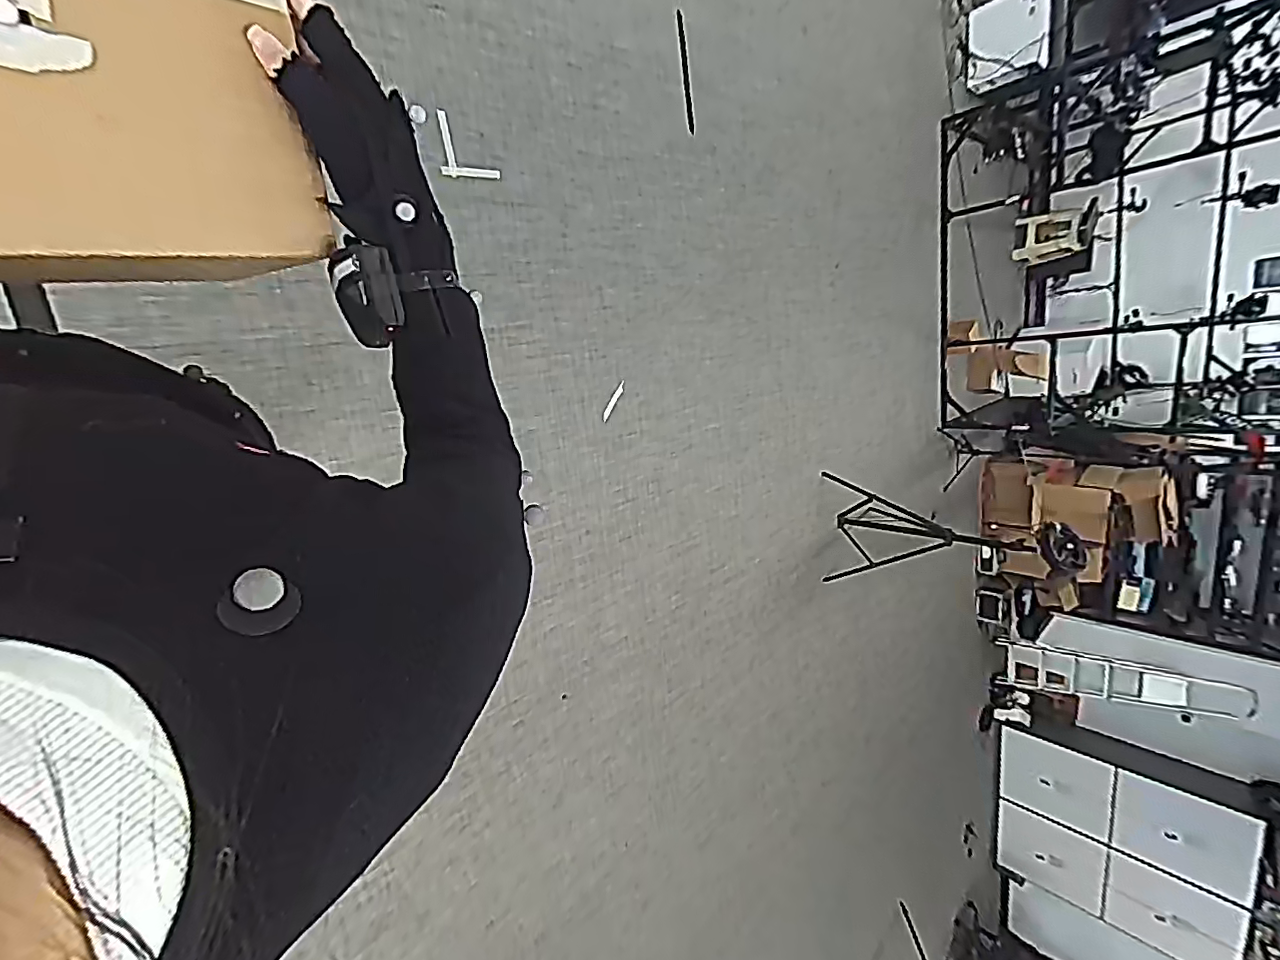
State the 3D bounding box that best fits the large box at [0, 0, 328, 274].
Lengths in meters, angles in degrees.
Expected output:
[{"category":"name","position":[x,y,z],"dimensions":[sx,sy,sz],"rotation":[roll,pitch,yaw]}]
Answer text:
[{"category":"large box","position":[-0.489,-0.296,0.327],"dimensions":[0.408,0.320,0.320],"rotation":[-22,118,-43]}]
